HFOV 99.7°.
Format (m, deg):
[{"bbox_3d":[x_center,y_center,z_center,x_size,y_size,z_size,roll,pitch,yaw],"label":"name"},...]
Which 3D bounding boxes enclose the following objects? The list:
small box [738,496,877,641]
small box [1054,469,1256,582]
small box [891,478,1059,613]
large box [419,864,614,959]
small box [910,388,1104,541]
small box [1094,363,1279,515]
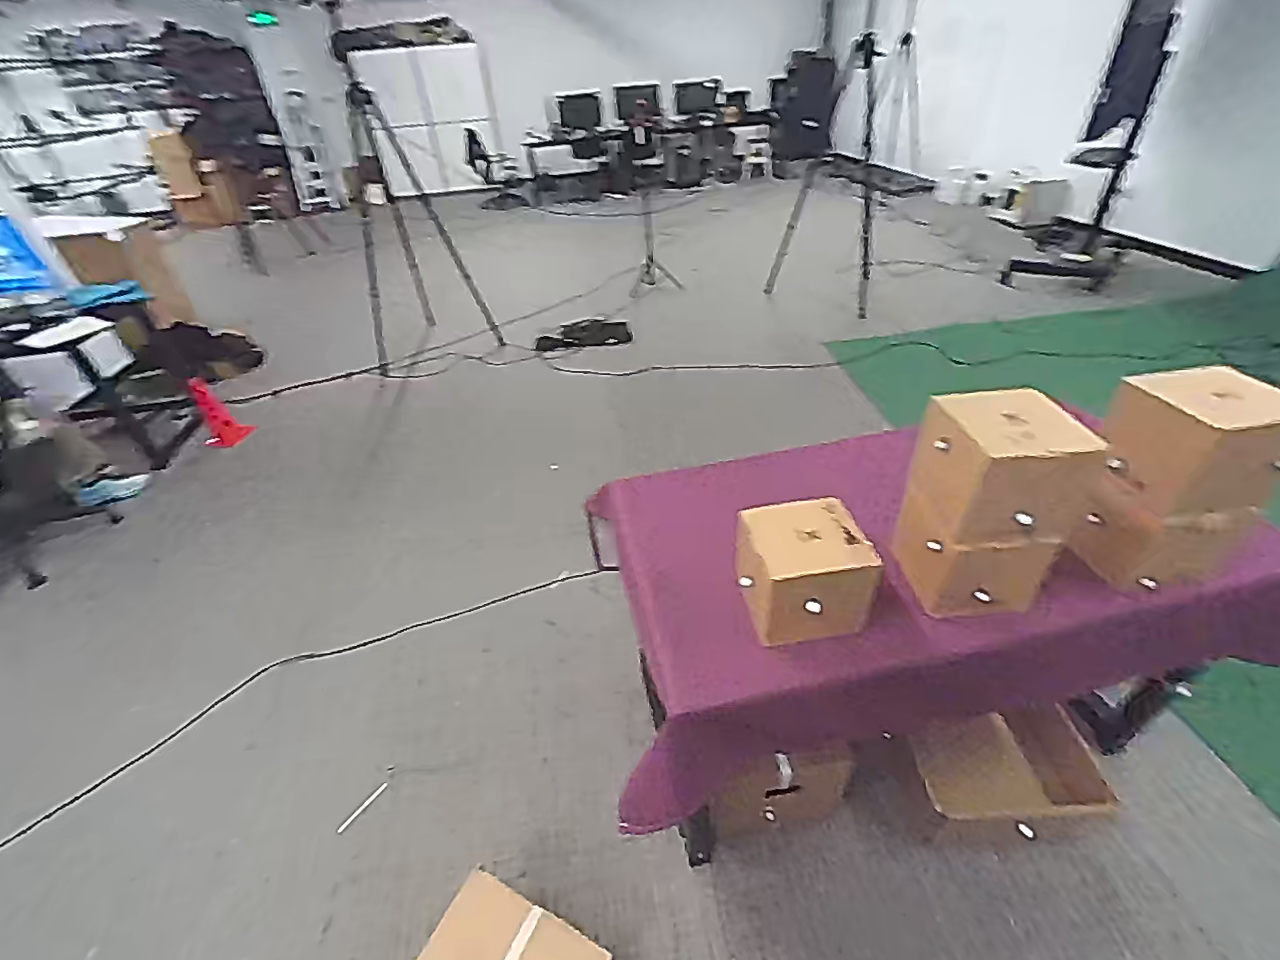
[{"bbox_3d":[0.272,0.153,0.921,0.179,0.176,0.168,-9,39,-3],"label":"small box"},{"bbox_3d":[0.884,0.065,0.957,0.168,0.176,0.179,-9,37,-3],"label":"small box"},{"bbox_3d":[0.566,0.108,0.946,0.168,0.176,0.179,-5,39,0],"label":"small box"},{"bbox_3d":[-0.261,1.020,0.959,0.320,0.320,0.408,15,42,23],"label":"large box"},{"bbox_3d":[0.554,-0.026,0.850,0.168,0.176,0.179,-5,38,2],"label":"small box"},{"bbox_3d":[0.875,-0.065,0.859,0.179,0.176,0.168,-8,37,-2],"label":"small box"}]
